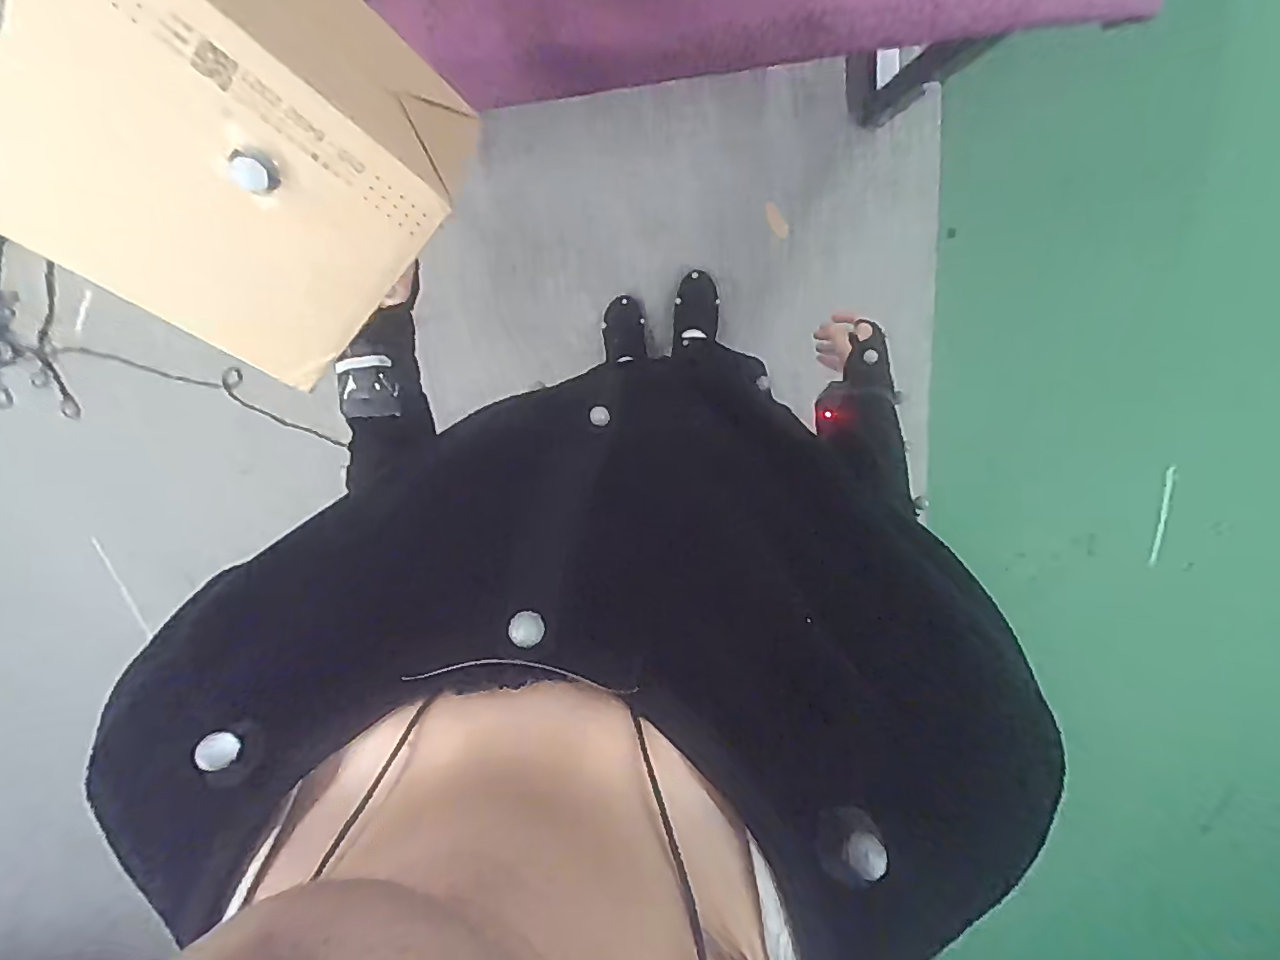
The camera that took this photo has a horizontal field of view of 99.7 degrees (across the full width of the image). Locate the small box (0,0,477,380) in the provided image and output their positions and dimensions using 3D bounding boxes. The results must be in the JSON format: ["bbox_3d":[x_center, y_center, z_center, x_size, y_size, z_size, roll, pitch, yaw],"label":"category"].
[{"bbox_3d":[-0.216,-0.202,0.323,0.176,0.179,0.168,-36,130,25],"label":"small box"}]
